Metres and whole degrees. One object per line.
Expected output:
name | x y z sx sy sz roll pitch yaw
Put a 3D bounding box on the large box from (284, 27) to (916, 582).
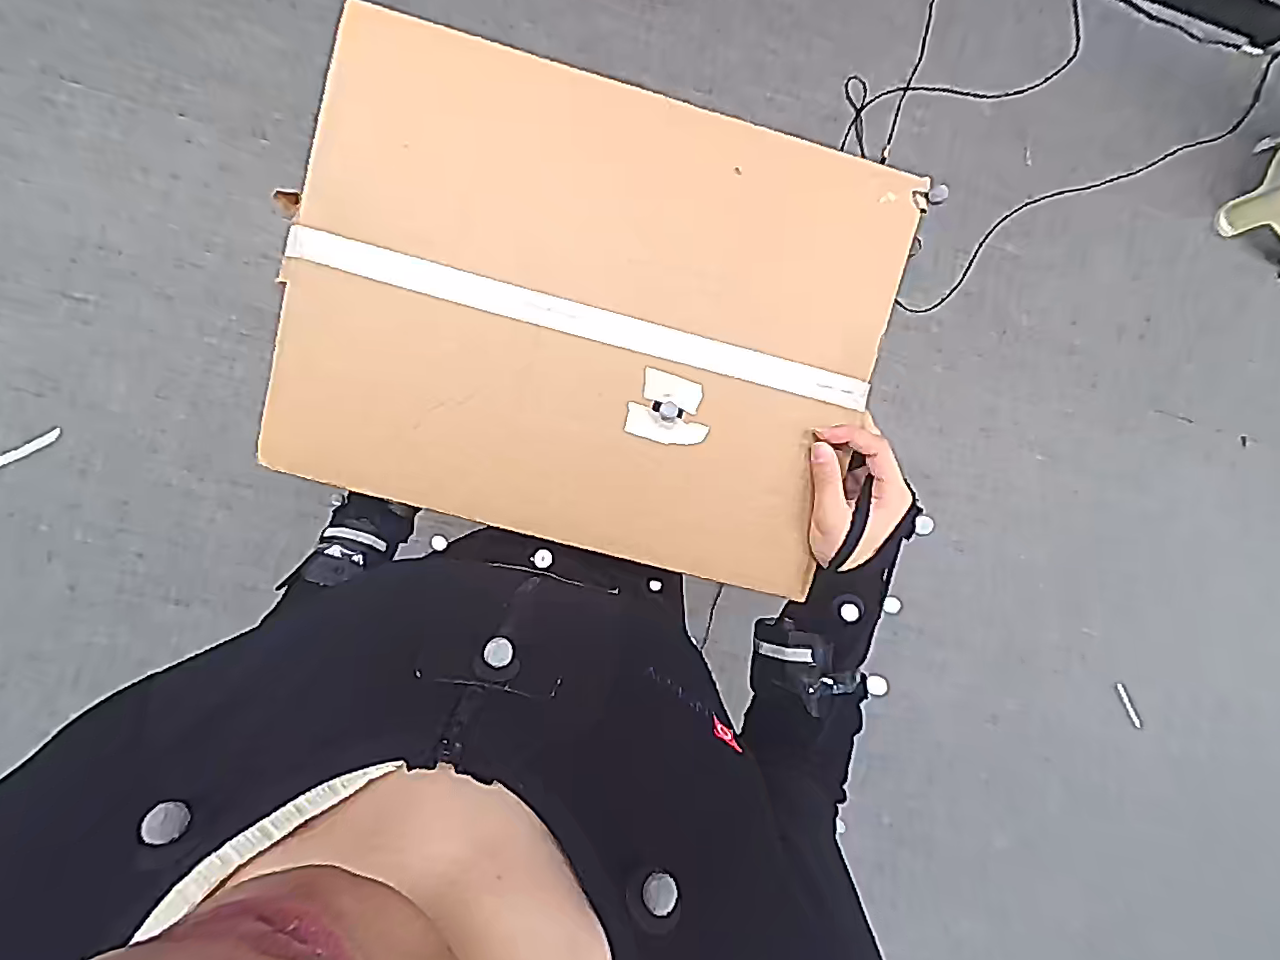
large box | -0.038 -0.126 0.533 0.408 0.320 0.320 14 96 -5
